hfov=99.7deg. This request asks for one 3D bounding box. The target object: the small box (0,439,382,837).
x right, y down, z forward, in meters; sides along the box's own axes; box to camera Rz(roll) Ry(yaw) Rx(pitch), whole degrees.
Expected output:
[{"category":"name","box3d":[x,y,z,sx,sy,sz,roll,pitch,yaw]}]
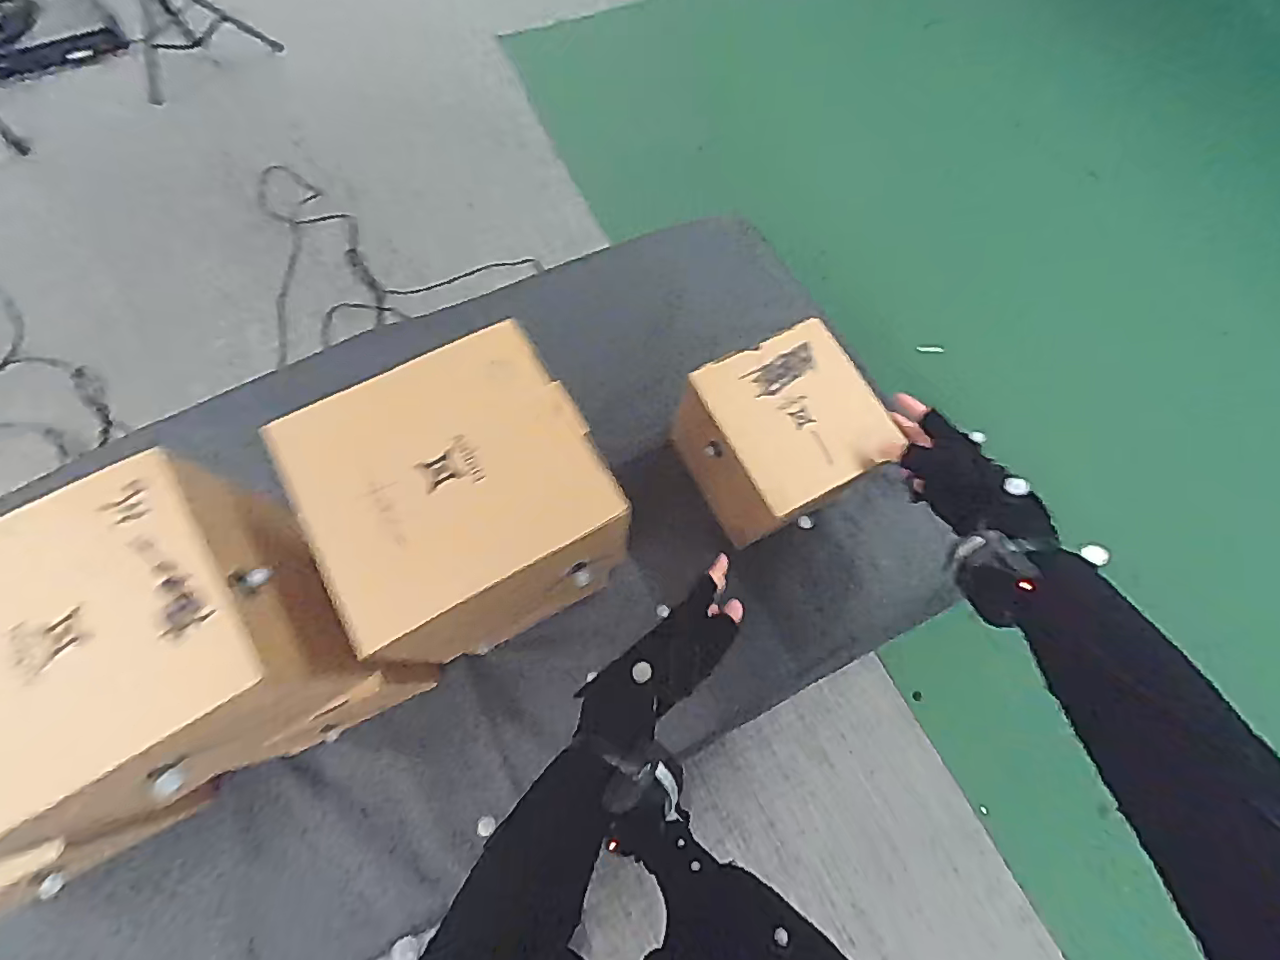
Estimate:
[{"category":"small box","box3d":[-0.322,0.106,0.378,0.179,0.176,0.168,-32,77,-12]}]
